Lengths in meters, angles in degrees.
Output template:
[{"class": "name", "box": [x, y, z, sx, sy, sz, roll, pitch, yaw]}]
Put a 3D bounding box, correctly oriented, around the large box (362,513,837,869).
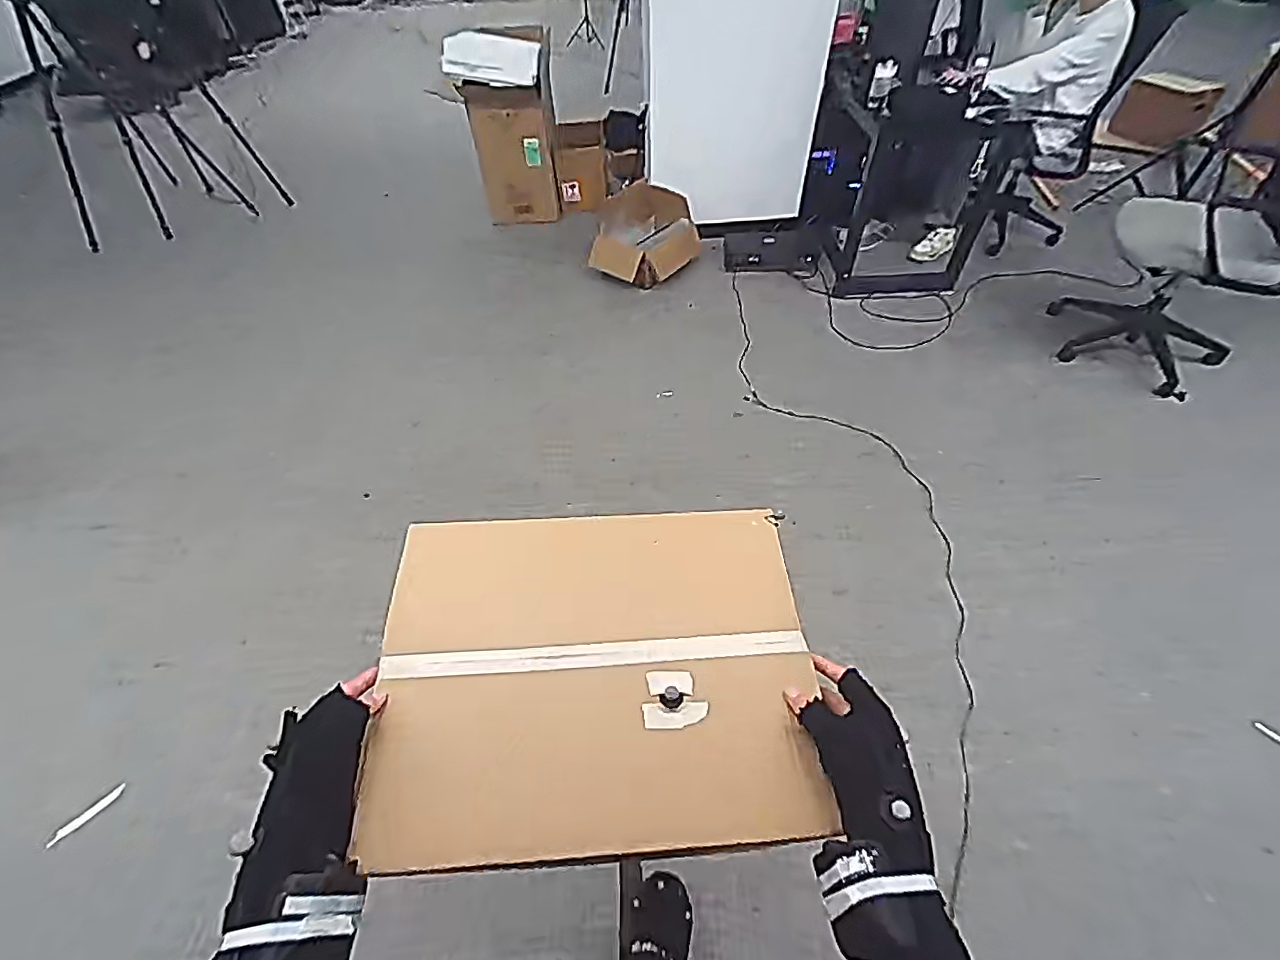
[{"class": "large box", "box": [-0.044, 0.259, 0.651, 0.408, 0.320, 0.320, -2, 54, -4]}]
